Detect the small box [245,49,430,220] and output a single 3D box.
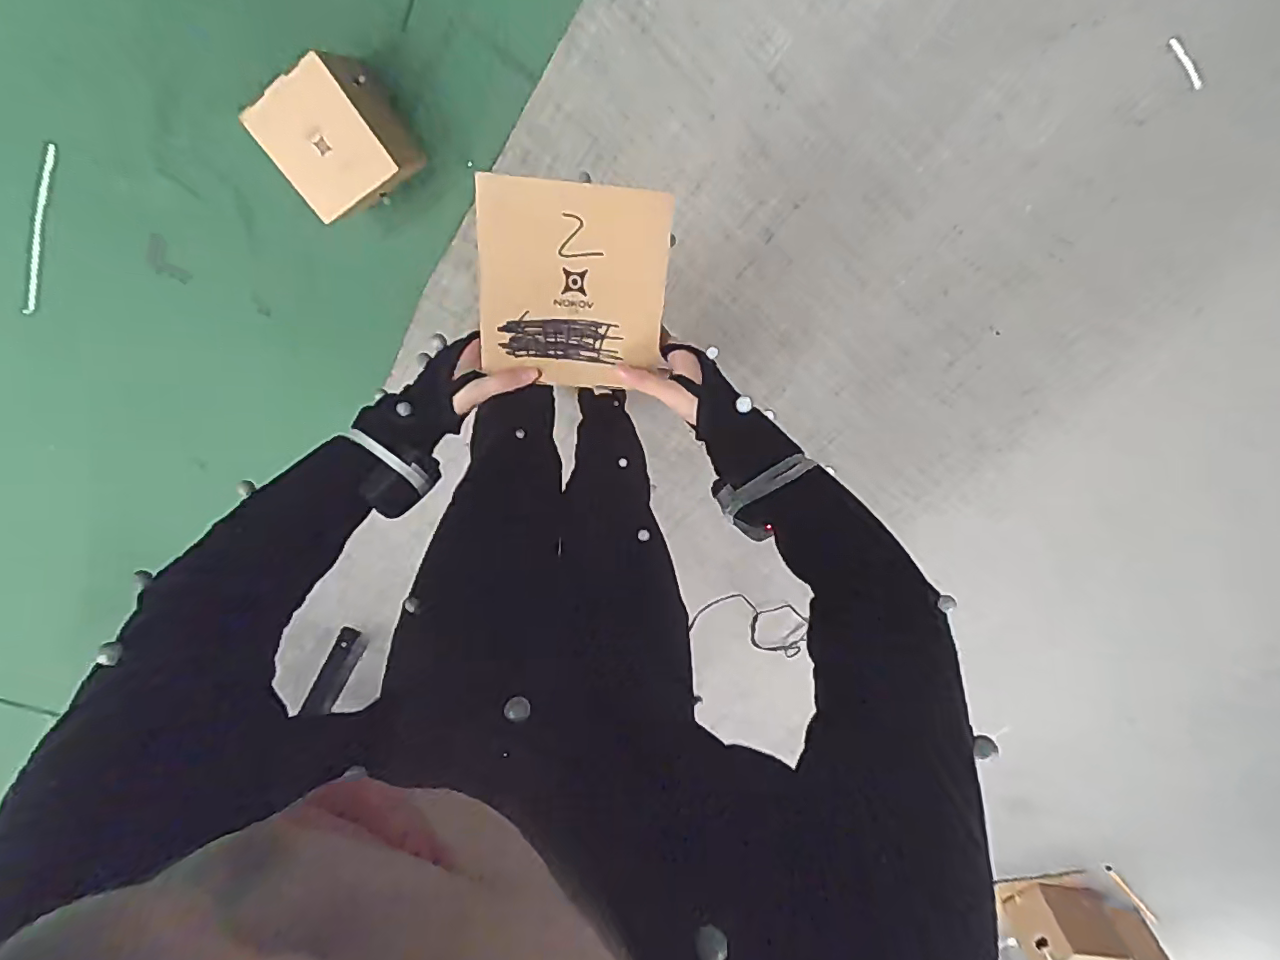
[{"bbox_3d":[-0.489,-0.570,0.905,0.168,0.176,0.179,-25,121,15],"label":"small box"}]
